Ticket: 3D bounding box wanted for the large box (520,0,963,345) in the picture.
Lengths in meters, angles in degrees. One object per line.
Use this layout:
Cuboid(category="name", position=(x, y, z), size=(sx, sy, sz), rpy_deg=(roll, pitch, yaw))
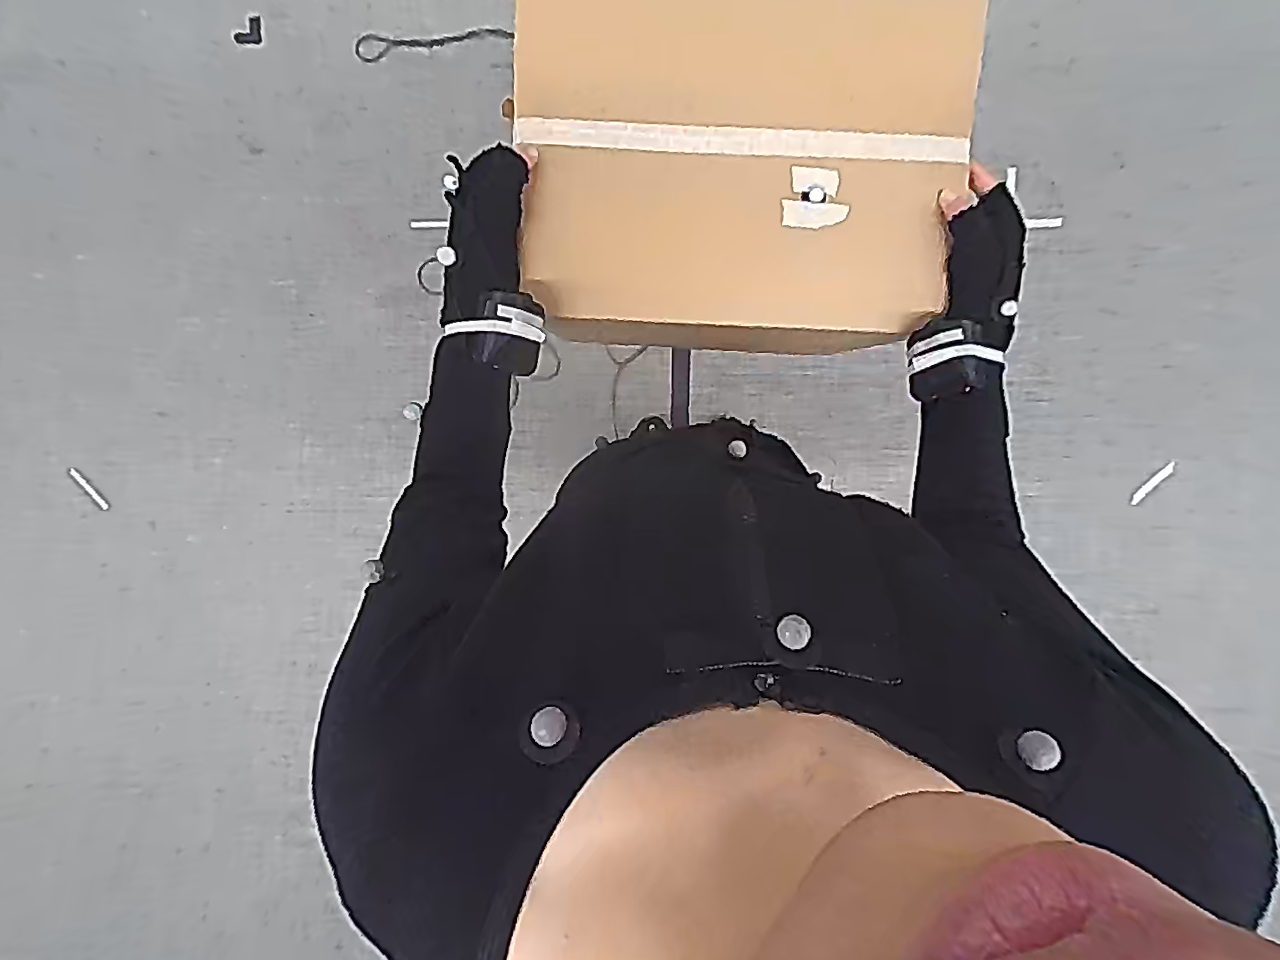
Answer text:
Cuboid(category="large box", position=(0.086, -0.334, 0.648), size=(0.408, 0.320, 0.320), rpy_deg=(2, 100, -1))
